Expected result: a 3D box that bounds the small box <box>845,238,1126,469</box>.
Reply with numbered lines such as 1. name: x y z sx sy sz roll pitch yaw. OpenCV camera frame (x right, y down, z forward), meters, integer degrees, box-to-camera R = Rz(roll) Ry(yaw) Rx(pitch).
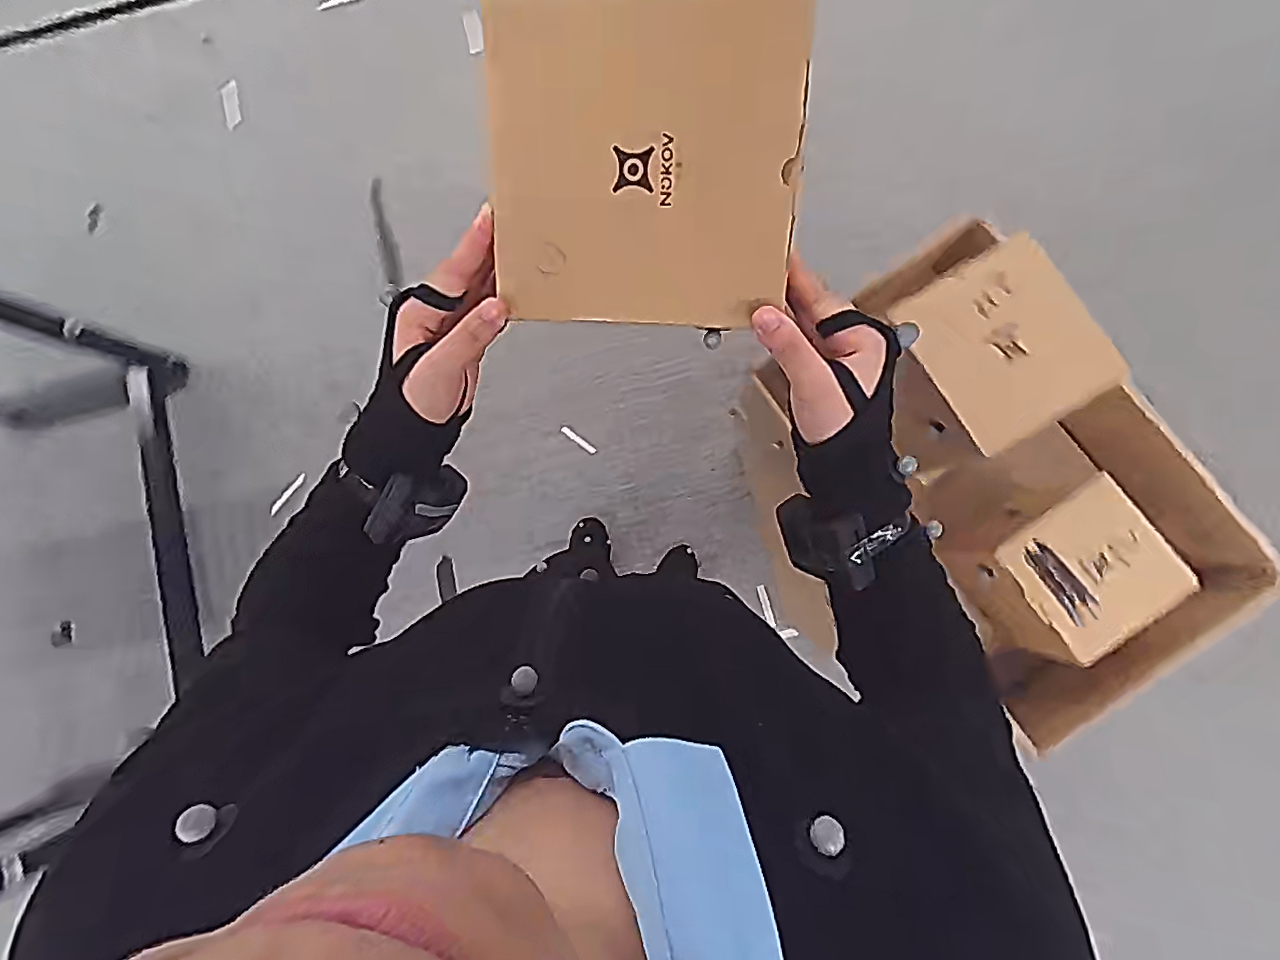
1. small box: 0.368 -0.124 0.614 0.168 0.176 0.179 -30 83 0
